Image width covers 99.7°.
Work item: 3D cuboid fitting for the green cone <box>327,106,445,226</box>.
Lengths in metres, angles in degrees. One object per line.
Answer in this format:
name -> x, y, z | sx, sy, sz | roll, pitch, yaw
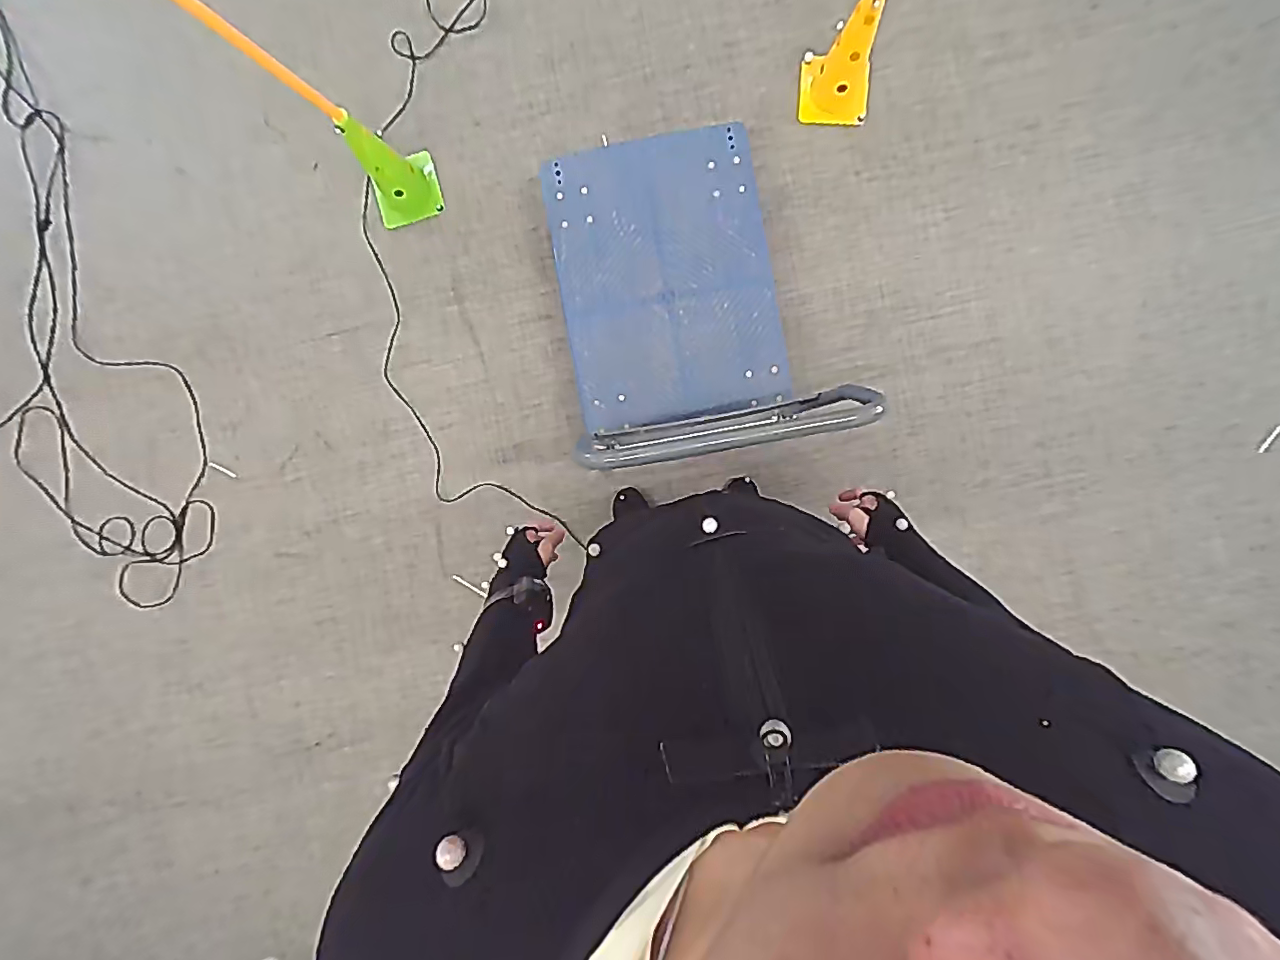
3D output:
green cone -> -0.731, -0.907, 1.503 | 0.202, 0.368, 0.200 | -17, 89, 5
